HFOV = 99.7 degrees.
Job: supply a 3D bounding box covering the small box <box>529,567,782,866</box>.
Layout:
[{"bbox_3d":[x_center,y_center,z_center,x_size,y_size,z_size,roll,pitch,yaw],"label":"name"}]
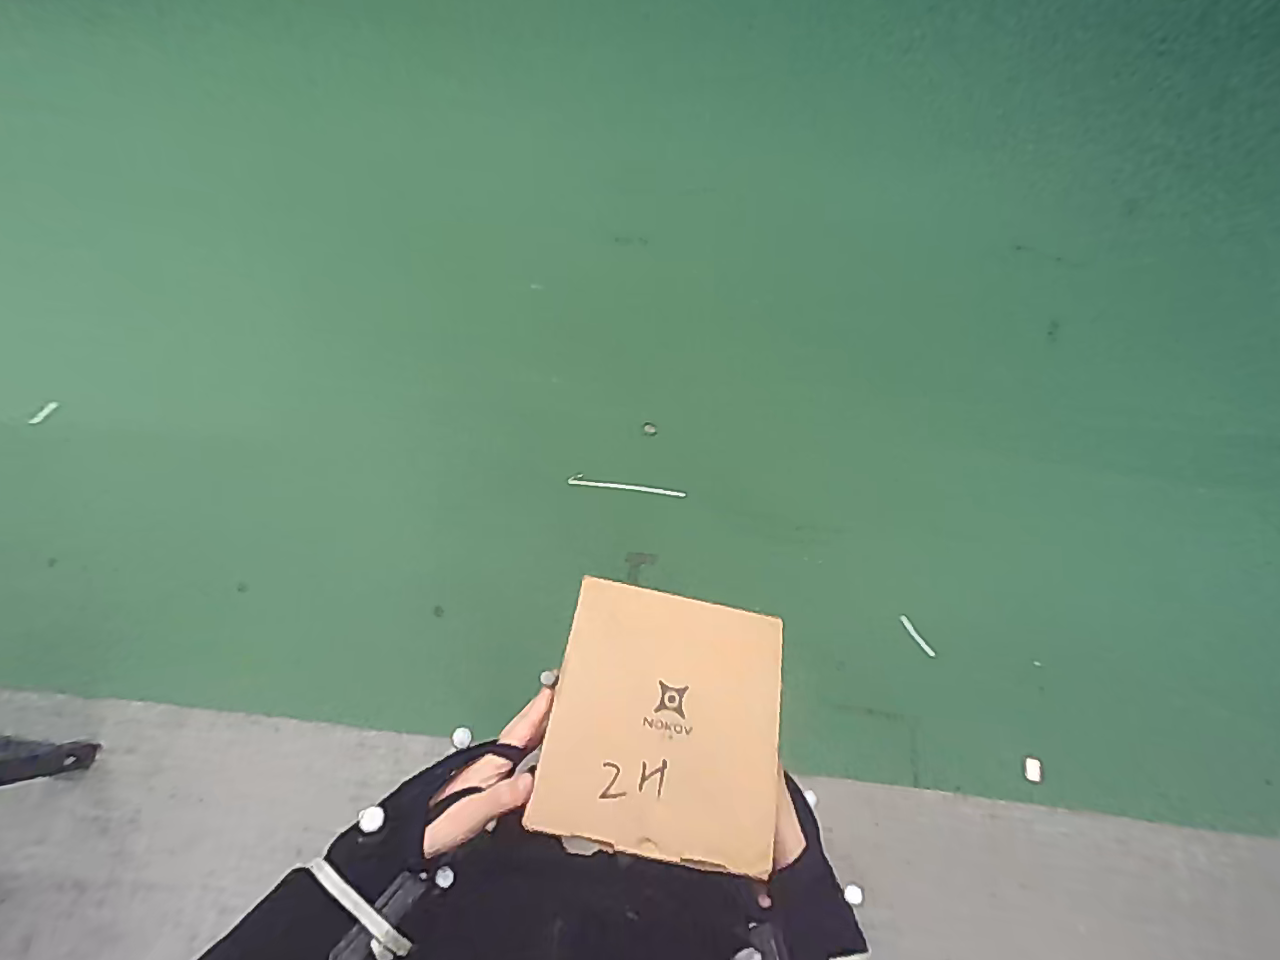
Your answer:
[{"bbox_3d":[0.009,0.200,0.459,0.168,0.176,0.179,13,59,-2],"label":"small box"}]
